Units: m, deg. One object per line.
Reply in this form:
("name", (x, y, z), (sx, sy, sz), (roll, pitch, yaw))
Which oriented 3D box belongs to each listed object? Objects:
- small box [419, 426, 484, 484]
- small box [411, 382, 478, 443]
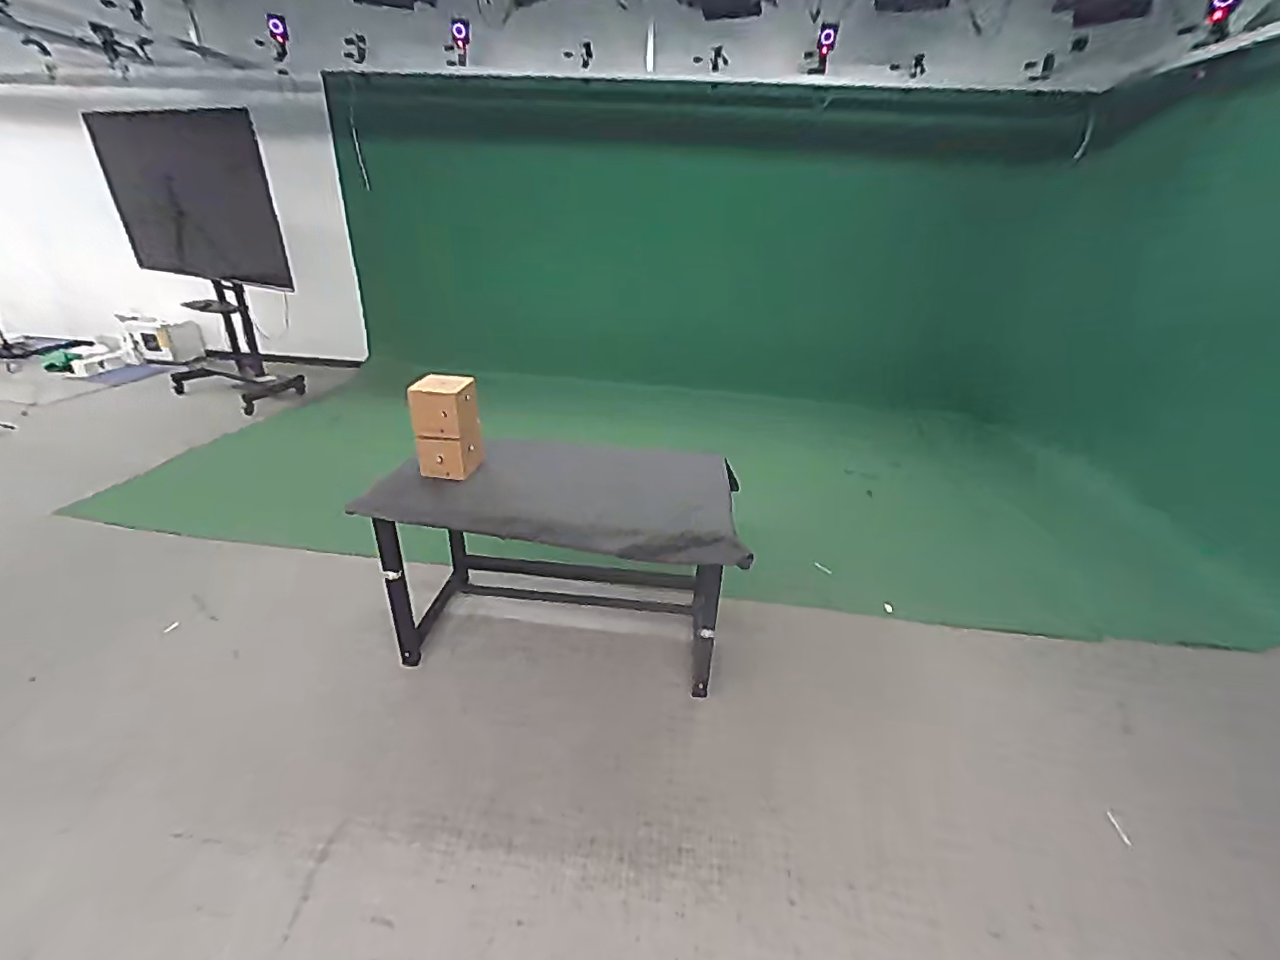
("small box", (-0.685, -0.097, 1.987), (0.168, 0.176, 0.179), (6, 27, 6))
("small box", (-0.679, -0.237, 1.903), (0.168, 0.176, 0.179), (6, 25, 4))
